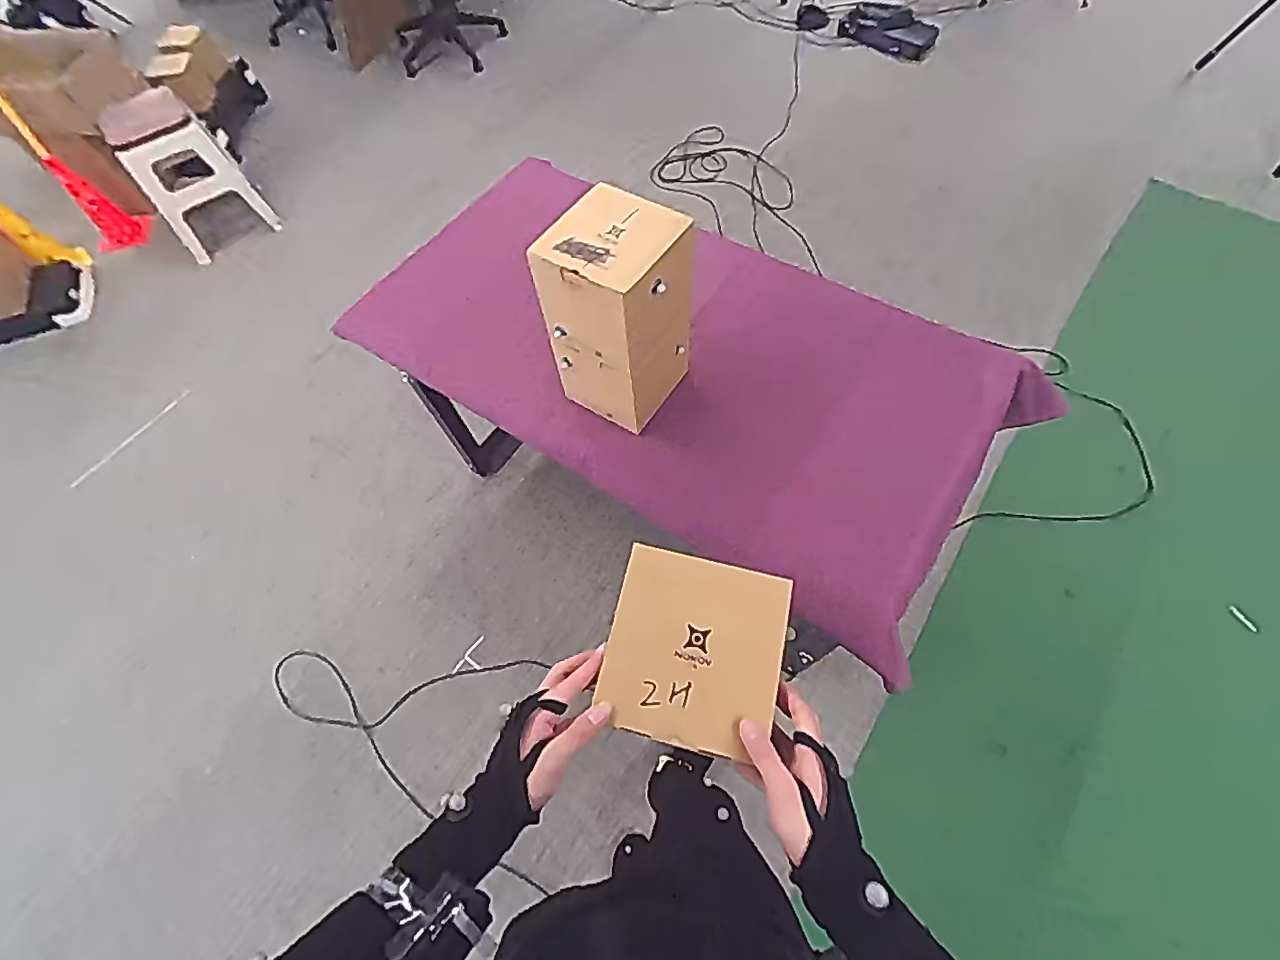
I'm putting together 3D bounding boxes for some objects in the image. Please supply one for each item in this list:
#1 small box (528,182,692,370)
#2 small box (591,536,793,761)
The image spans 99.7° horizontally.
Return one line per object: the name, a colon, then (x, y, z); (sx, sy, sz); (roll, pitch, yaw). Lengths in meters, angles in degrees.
small box: (-0.036, -0.298, 0.810); (0.168, 0.176, 0.179); (31, 67, 17)
small box: (0.054, 0.183, 0.594); (0.168, 0.176, 0.179); (14, 70, 7)
